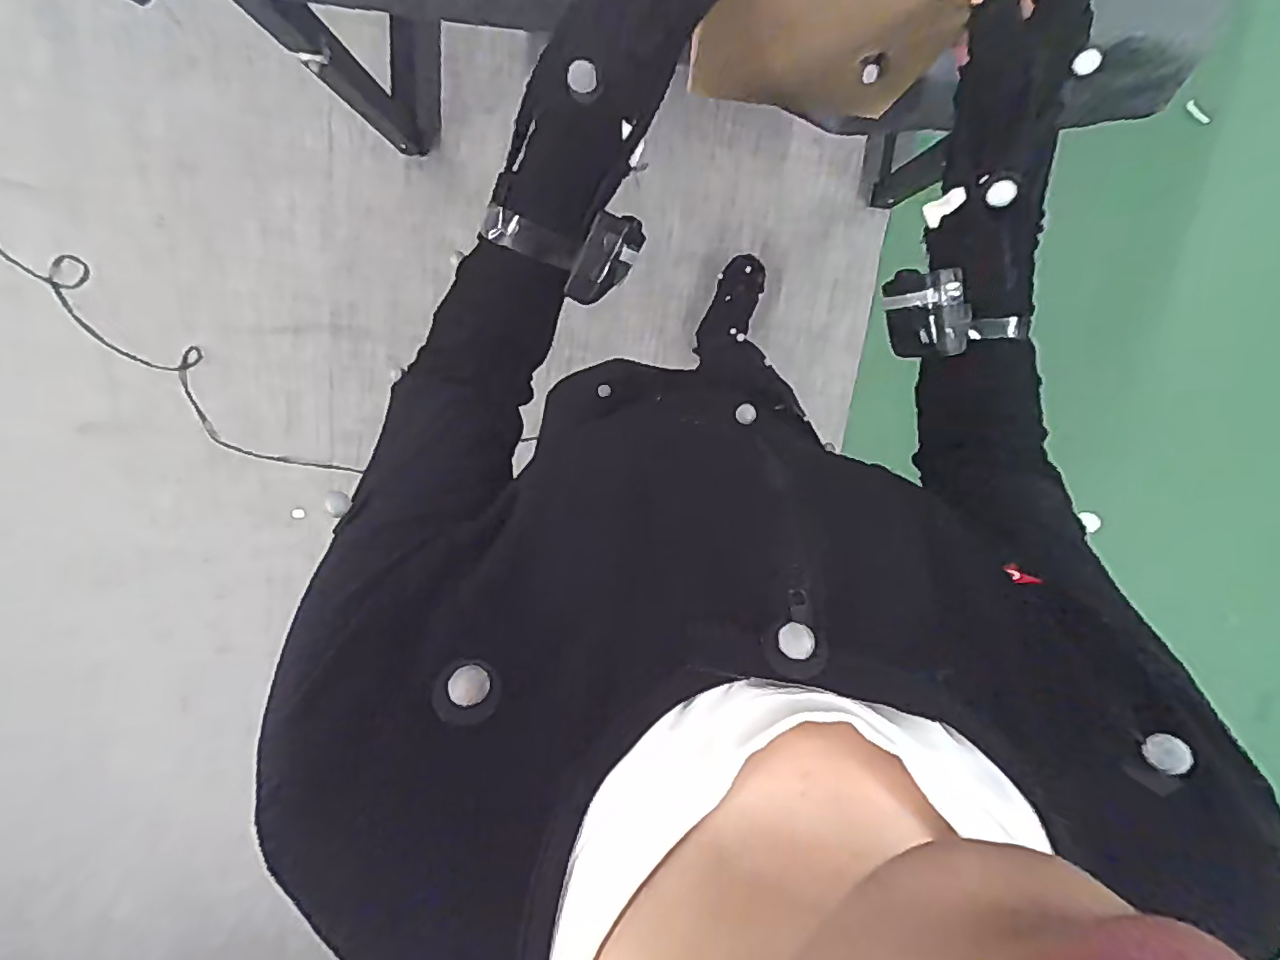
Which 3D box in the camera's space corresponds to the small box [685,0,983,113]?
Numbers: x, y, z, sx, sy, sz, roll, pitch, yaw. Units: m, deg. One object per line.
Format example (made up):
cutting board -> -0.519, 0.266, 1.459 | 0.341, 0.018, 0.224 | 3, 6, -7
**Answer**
small box -> 0.132, -0.394, 0.388 | 0.179, 0.176, 0.168 | 4, 101, 0
